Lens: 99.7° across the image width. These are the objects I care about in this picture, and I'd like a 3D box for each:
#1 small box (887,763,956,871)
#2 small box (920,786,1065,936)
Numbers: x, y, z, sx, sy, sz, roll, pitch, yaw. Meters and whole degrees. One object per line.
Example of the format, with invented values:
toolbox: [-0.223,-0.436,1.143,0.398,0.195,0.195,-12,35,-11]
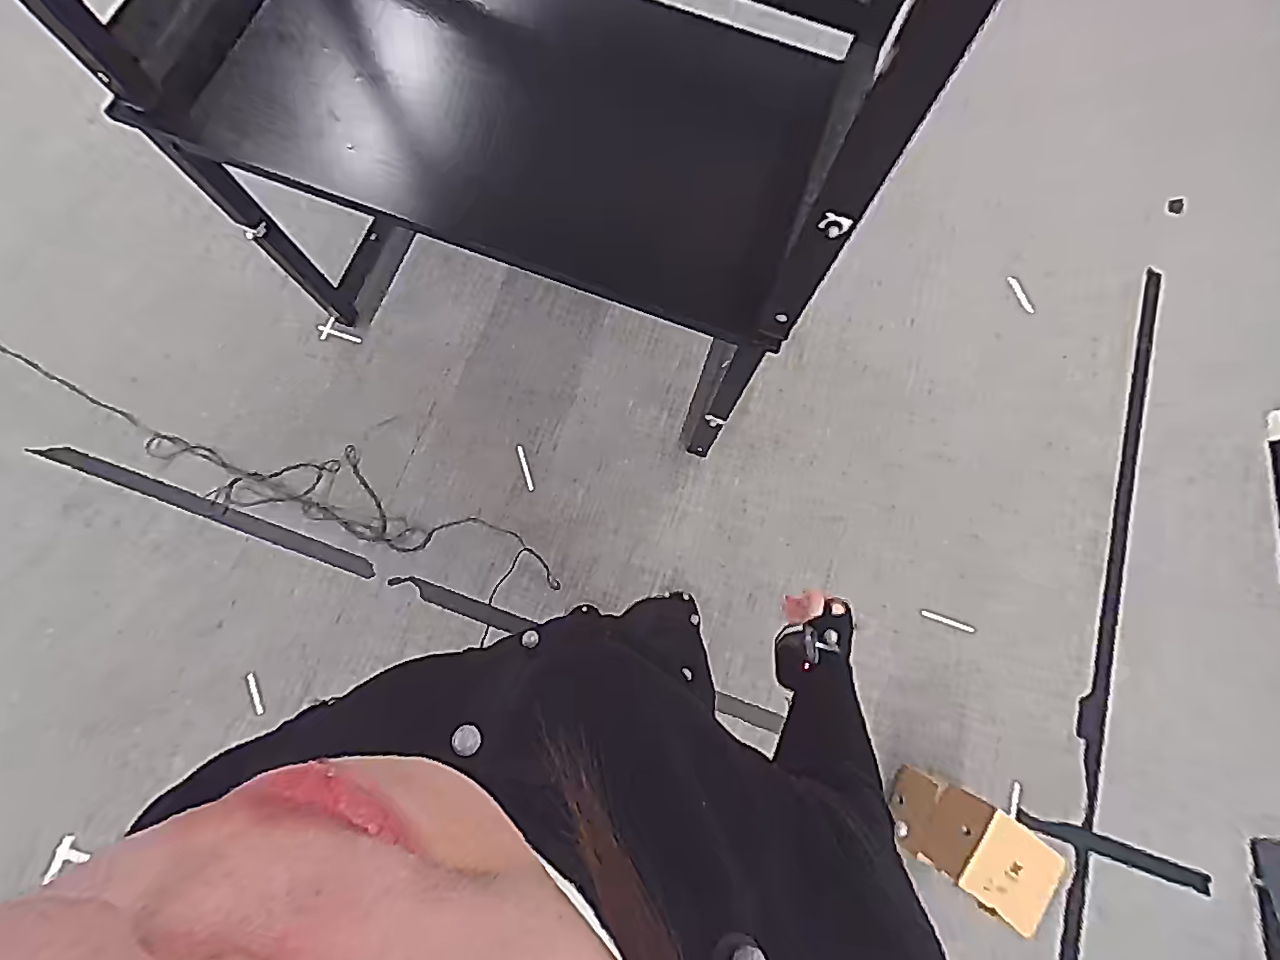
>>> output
small box: [0.737,0.838,1.328,0.168,0.176,0.179,25,79,3]
small box: [0.747,0.804,1.166,0.168,0.176,0.179,37,79,6]
